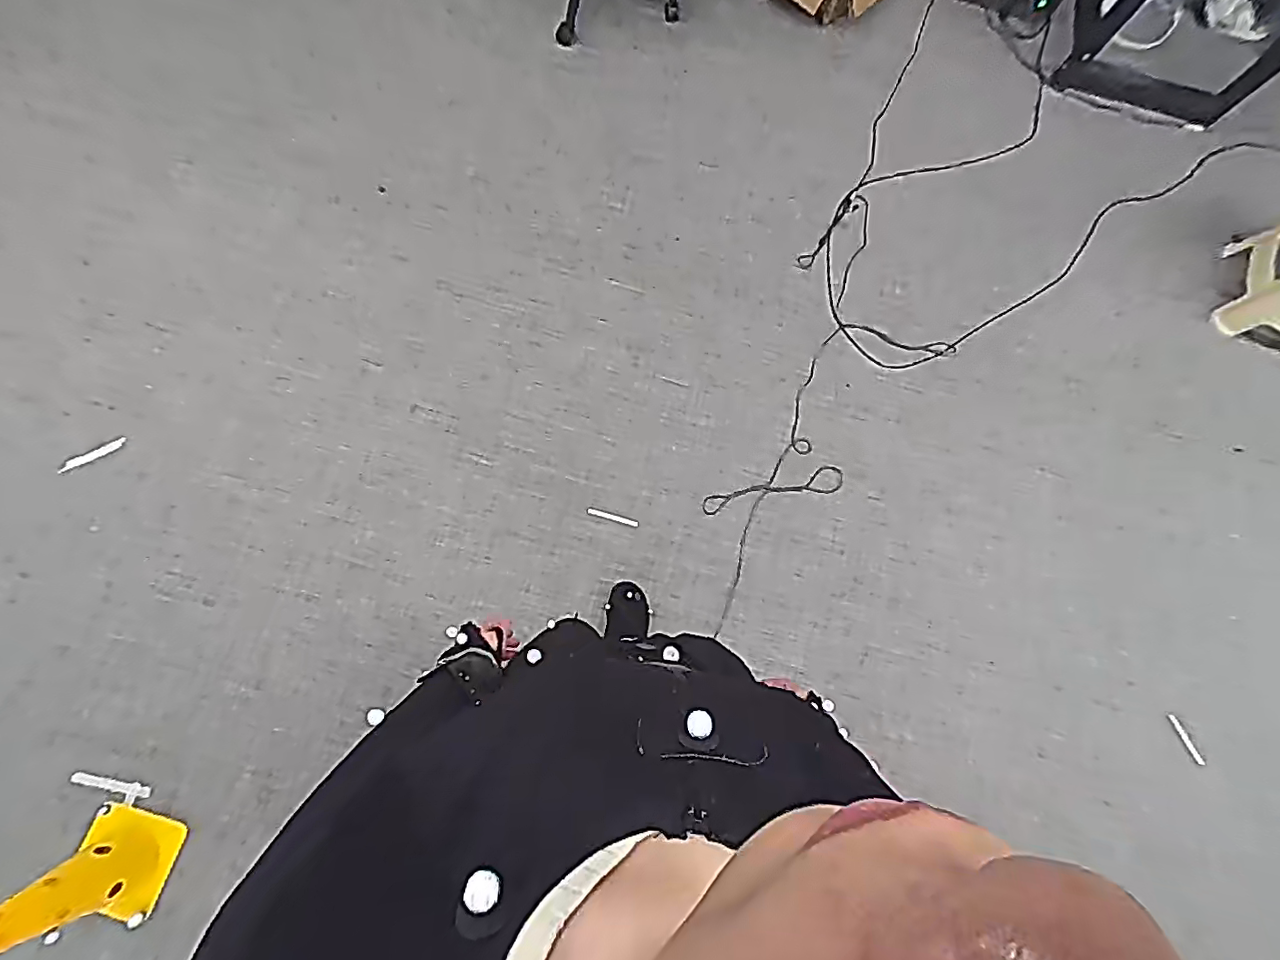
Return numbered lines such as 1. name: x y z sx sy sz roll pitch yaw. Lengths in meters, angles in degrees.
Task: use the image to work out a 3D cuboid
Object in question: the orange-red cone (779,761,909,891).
1. orange-red cone: 0.446 0.748 1.123 0.199 0.360 0.198 11 76 -1
